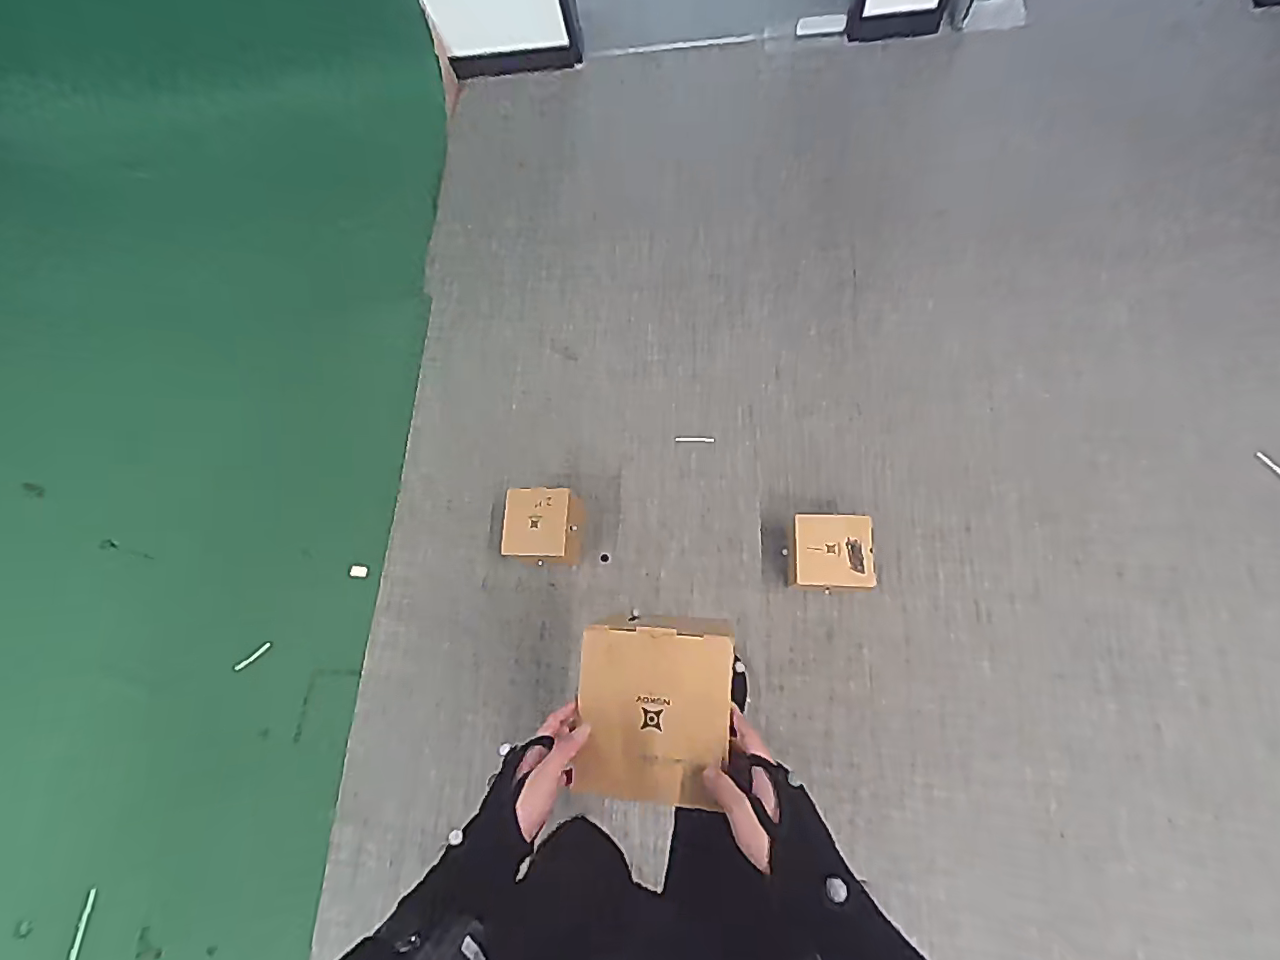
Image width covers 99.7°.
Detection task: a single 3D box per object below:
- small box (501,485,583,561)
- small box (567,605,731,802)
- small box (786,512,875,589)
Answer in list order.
[{"bbox_3d":[-0.252,0.119,1.431,0.168,0.176,0.179,1,75,8],"label":"small box"},{"bbox_3d":[0.021,0.247,0.646,0.168,0.176,0.179,2,82,10],"label":"small box"},{"bbox_3d":[0.455,0.175,1.313,0.179,0.176,0.168,1,75,9],"label":"small box"}]
